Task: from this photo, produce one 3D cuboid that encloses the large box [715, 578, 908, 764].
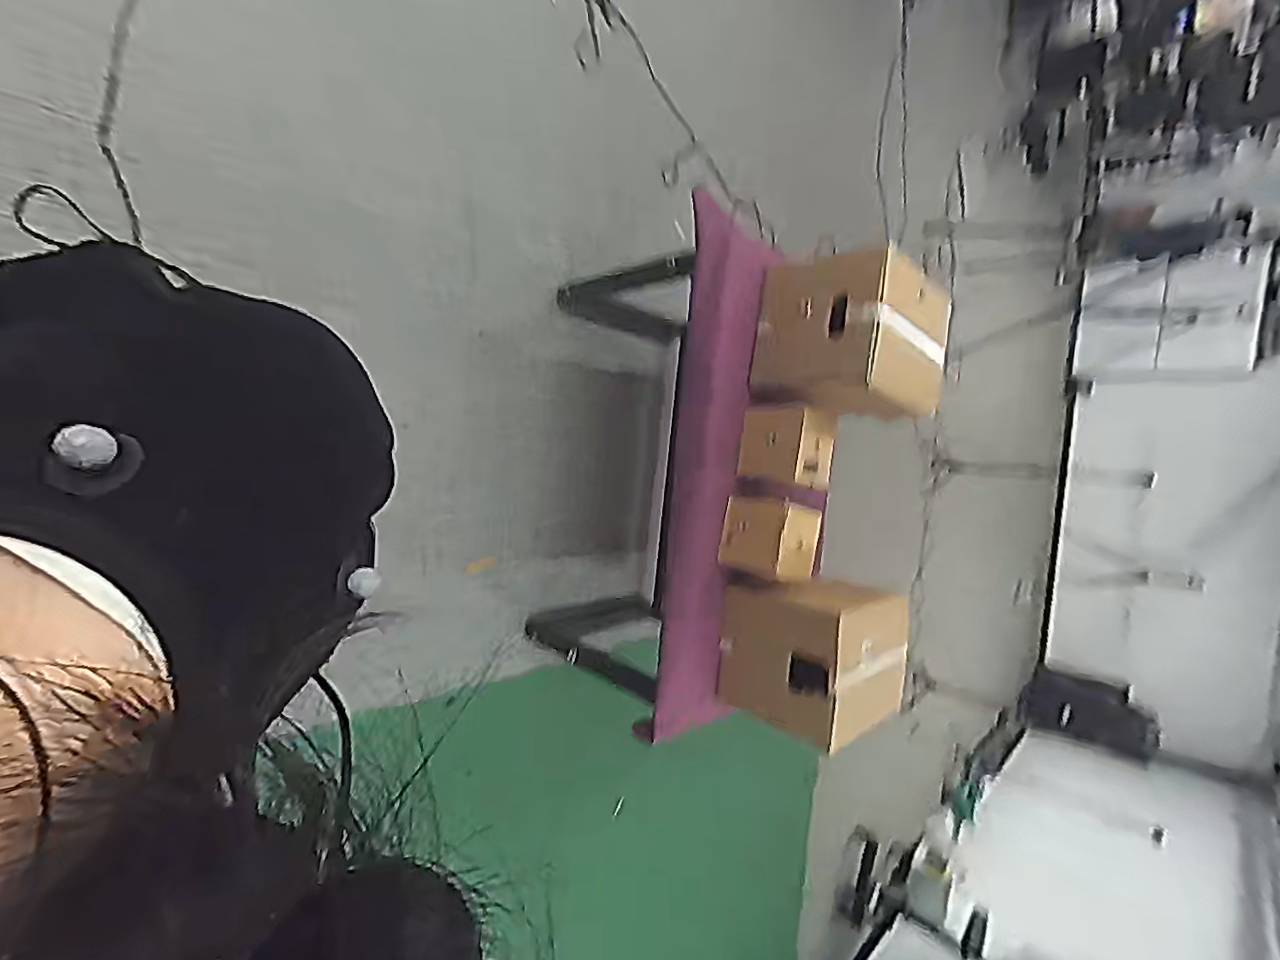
[{"bbox_3d":[0.445,0.451,1.392,0.408,0.320,0.320,3,91,-43],"label":"large box"}]
